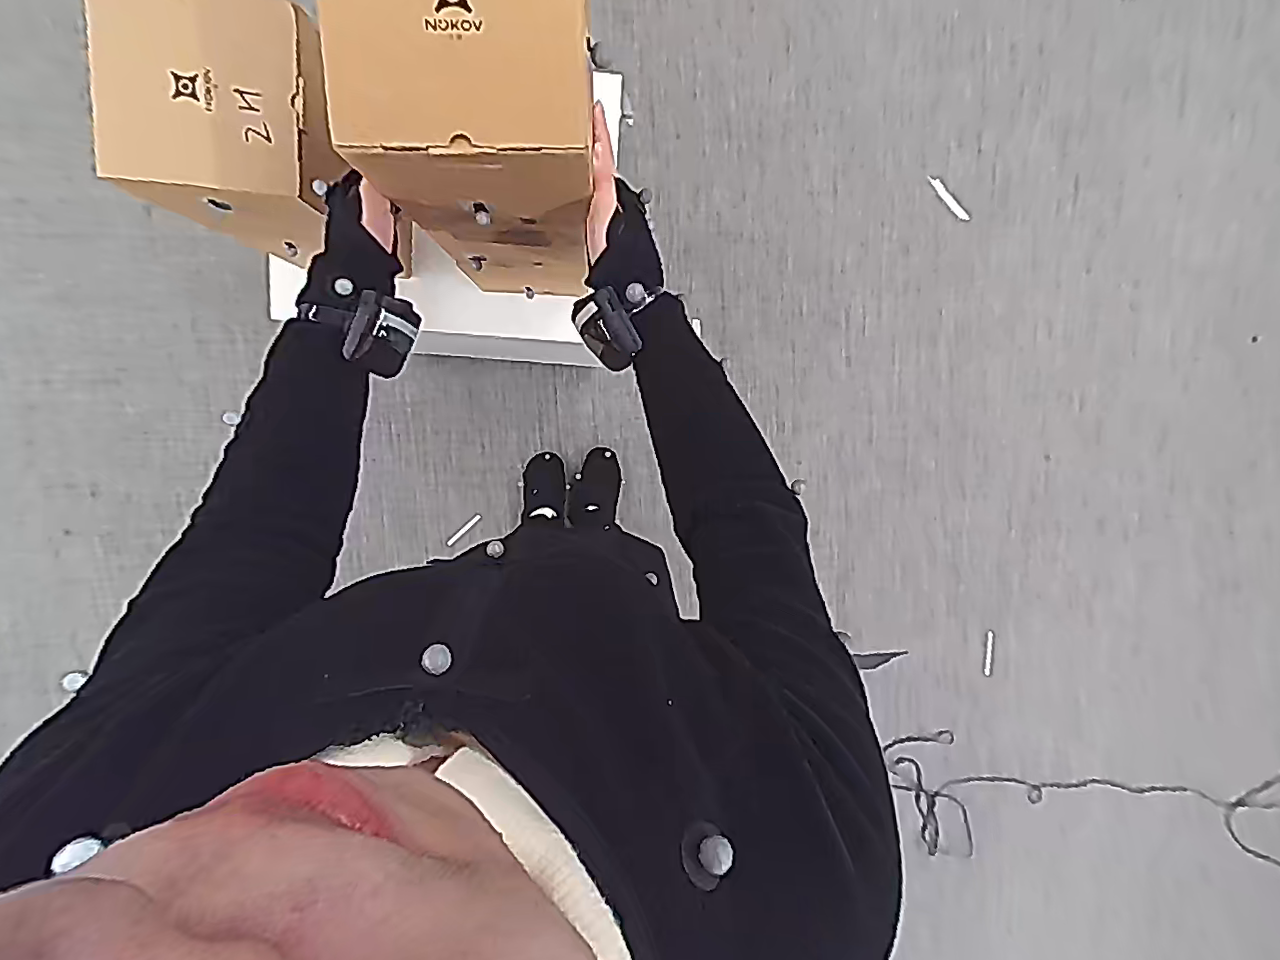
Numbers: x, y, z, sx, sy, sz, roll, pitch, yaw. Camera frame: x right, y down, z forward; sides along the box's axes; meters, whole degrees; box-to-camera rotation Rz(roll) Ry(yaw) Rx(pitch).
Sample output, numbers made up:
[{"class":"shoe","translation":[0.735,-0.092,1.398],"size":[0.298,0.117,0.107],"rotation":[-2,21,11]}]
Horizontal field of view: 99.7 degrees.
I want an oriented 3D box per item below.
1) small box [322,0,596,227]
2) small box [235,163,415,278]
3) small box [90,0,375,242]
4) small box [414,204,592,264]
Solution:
[{"class":"small box","translation":[-0.119,-0.312,0.415],"size":[0.168,0.176,0.179],"rotation":[-2,100,-3]},{"class":"small box","translation":[-0.409,-0.386,0.718],"size":[0.168,0.176,0.179],"rotation":[4,97,-5]},{"class":"small box","translation":[-0.395,-0.358,0.556],"size":[0.179,0.176,0.168],"rotation":[4,99,-6]},{"class":"small box","translation":[-0.135,-0.342,0.582],"size":[0.168,0.176,0.179],"rotation":[2,98,-5]}]
